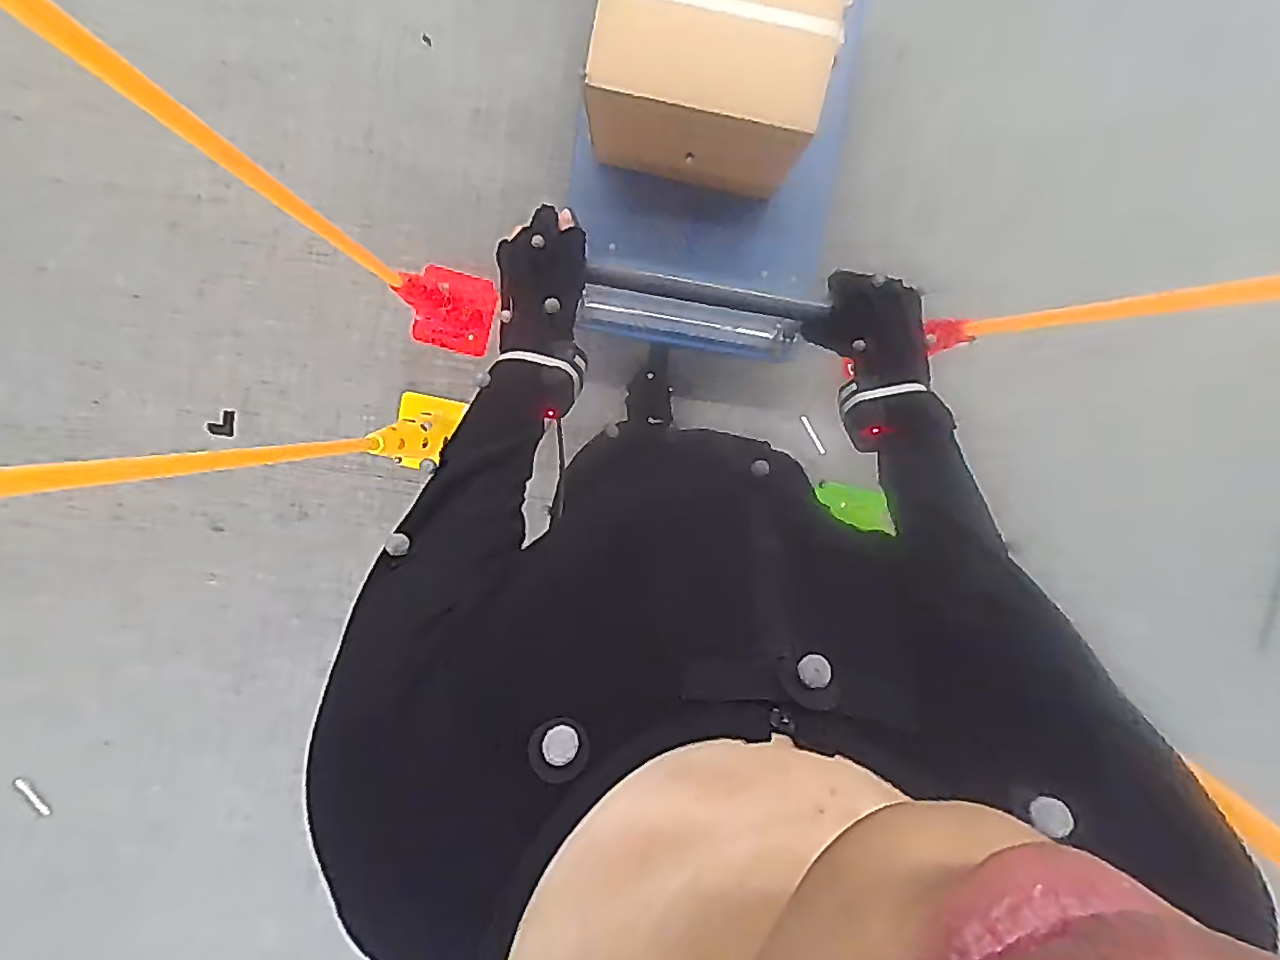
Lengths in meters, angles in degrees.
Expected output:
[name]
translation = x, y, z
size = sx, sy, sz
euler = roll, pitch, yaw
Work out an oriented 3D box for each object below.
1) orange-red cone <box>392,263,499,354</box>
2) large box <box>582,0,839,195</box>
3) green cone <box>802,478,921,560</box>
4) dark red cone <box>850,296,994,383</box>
[orange-red cone]
translation = -0.476, -0.424, 1.236
size = 0.198, 0.360, 0.199
euler = 16, 96, -3
[large box]
translation = 0.126, -0.793, 1.043
size = 0.408, 0.320, 0.320
euler = 11, 98, -1
[green cone]
translation = 0.563, 0.129, 1.312
size = 0.202, 0.368, 0.200
euler = 12, 97, -3
[dark red cone]
translation = 0.656, -0.341, 1.232
size = 0.201, 0.394, 0.202
euler = 8, 98, -3
